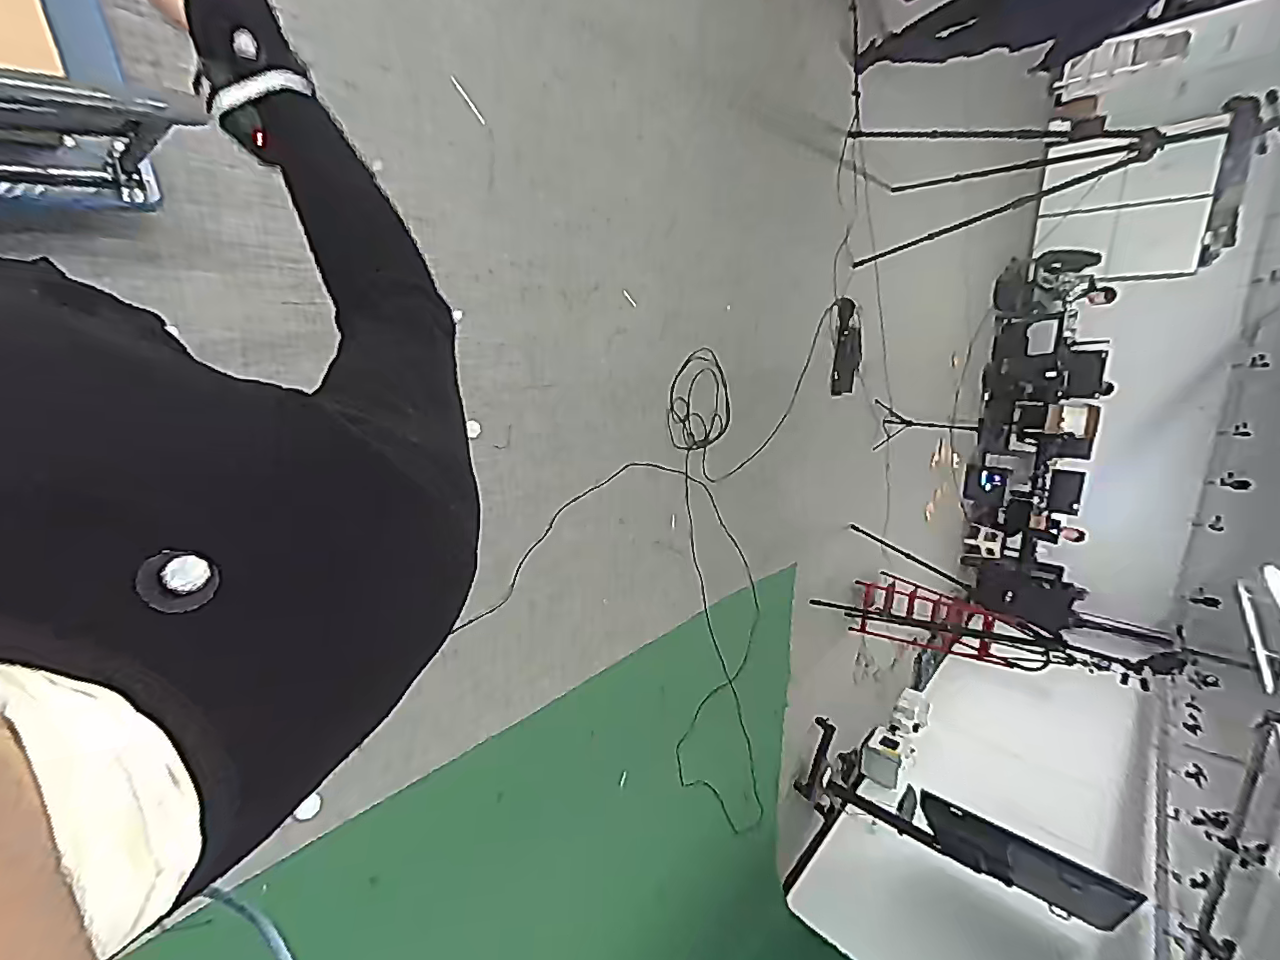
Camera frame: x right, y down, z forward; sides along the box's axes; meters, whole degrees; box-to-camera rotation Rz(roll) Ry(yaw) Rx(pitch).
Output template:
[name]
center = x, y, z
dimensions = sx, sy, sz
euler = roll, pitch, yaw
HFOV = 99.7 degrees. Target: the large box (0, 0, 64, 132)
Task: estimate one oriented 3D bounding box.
[large box]
center = -1.047, -0.731, 0.701
dimensions = 0.320, 0.320, 0.408
euler = -24, 116, -42
